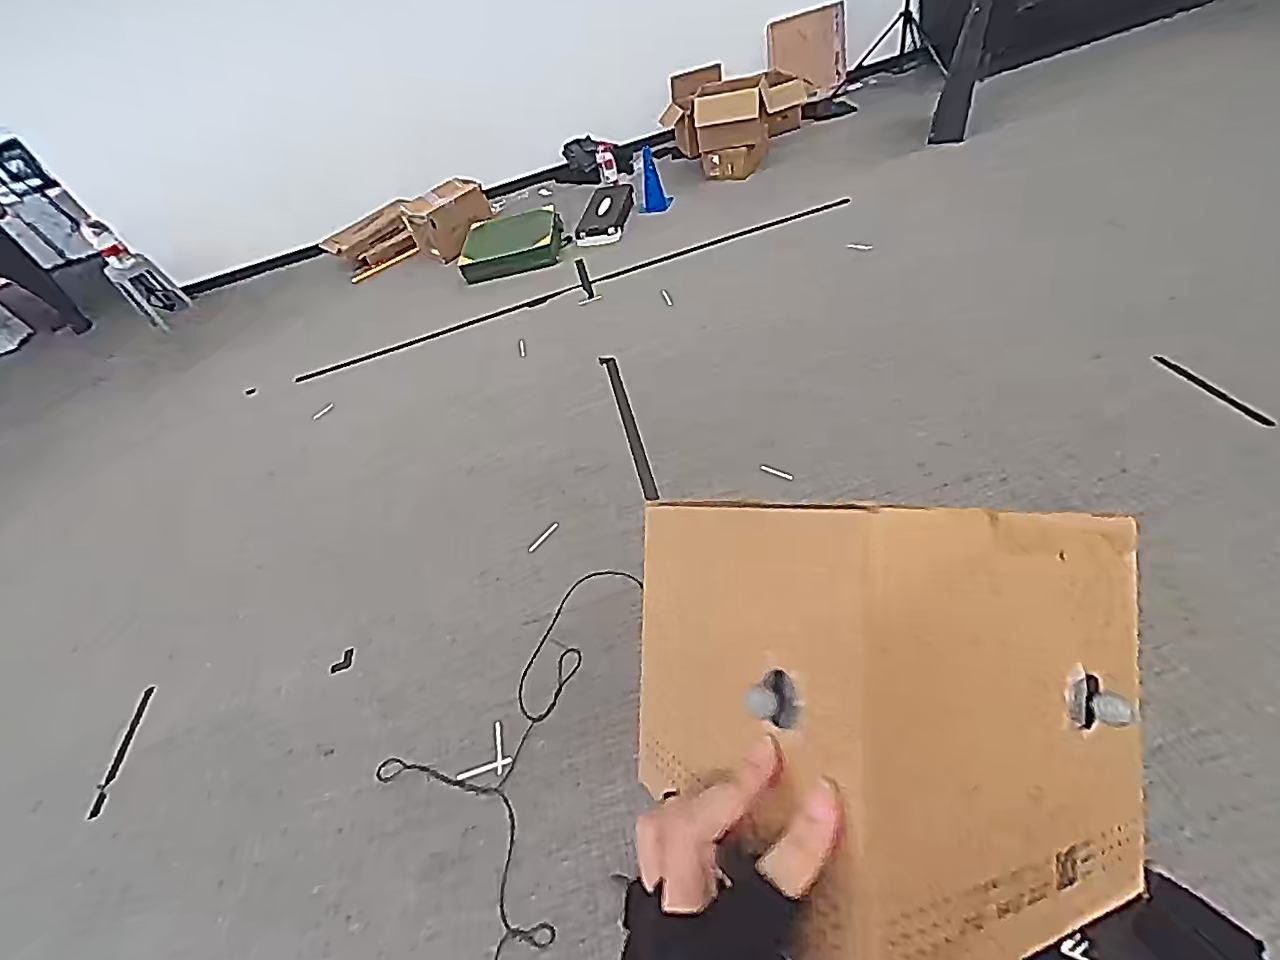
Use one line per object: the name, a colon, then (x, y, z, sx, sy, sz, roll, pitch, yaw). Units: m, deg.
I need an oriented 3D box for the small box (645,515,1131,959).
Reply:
small box: (0.112, 0.107, 0.284, 0.168, 0.176, 0.179, 4, -4, -26)
